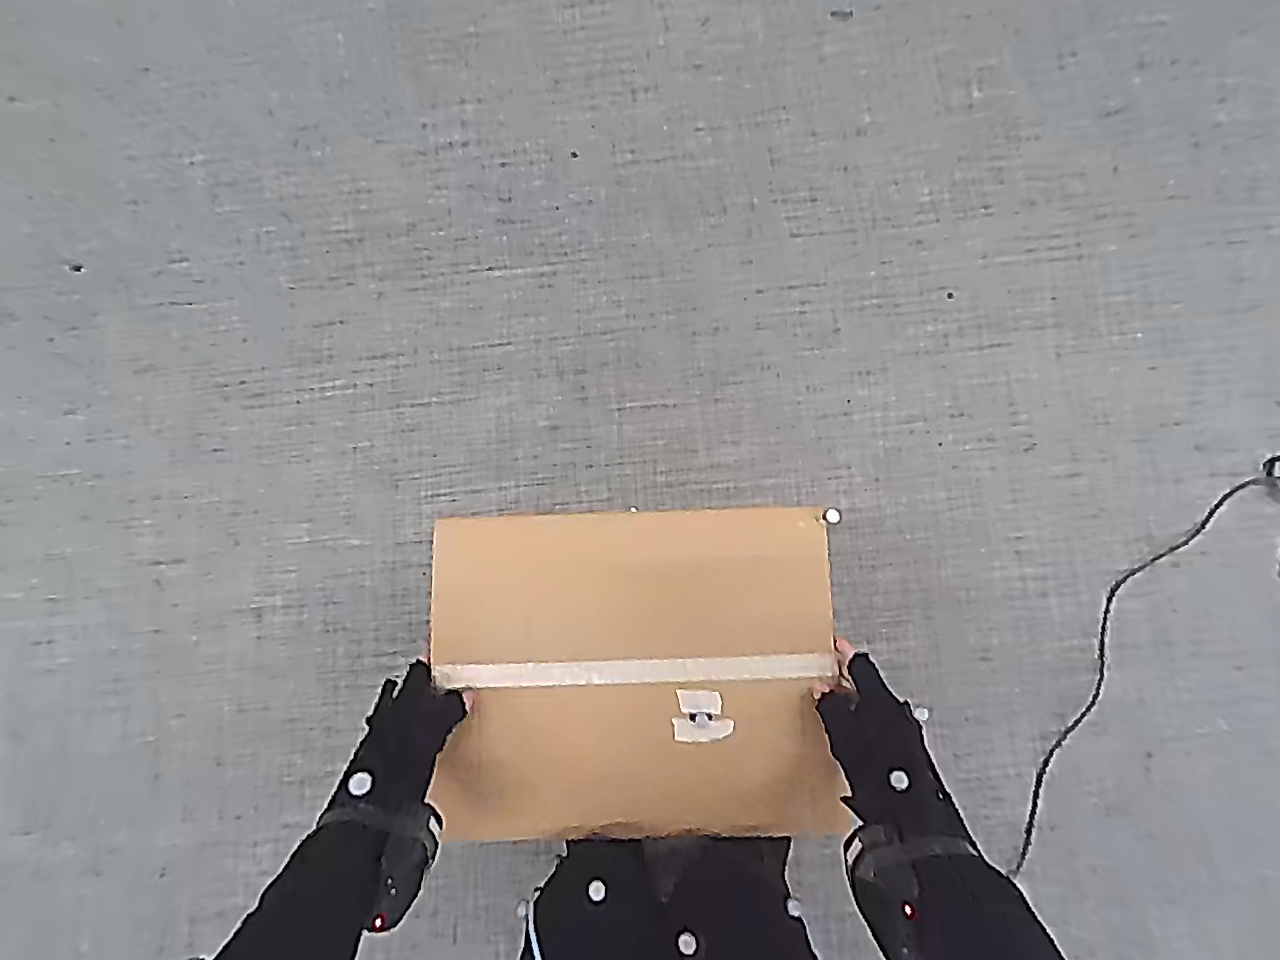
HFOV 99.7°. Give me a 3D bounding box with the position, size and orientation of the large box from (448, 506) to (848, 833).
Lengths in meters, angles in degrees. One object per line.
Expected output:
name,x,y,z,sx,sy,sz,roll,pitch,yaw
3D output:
large box,0.002,0.210,0.700,0.408,0.320,0.320,-2,83,1
